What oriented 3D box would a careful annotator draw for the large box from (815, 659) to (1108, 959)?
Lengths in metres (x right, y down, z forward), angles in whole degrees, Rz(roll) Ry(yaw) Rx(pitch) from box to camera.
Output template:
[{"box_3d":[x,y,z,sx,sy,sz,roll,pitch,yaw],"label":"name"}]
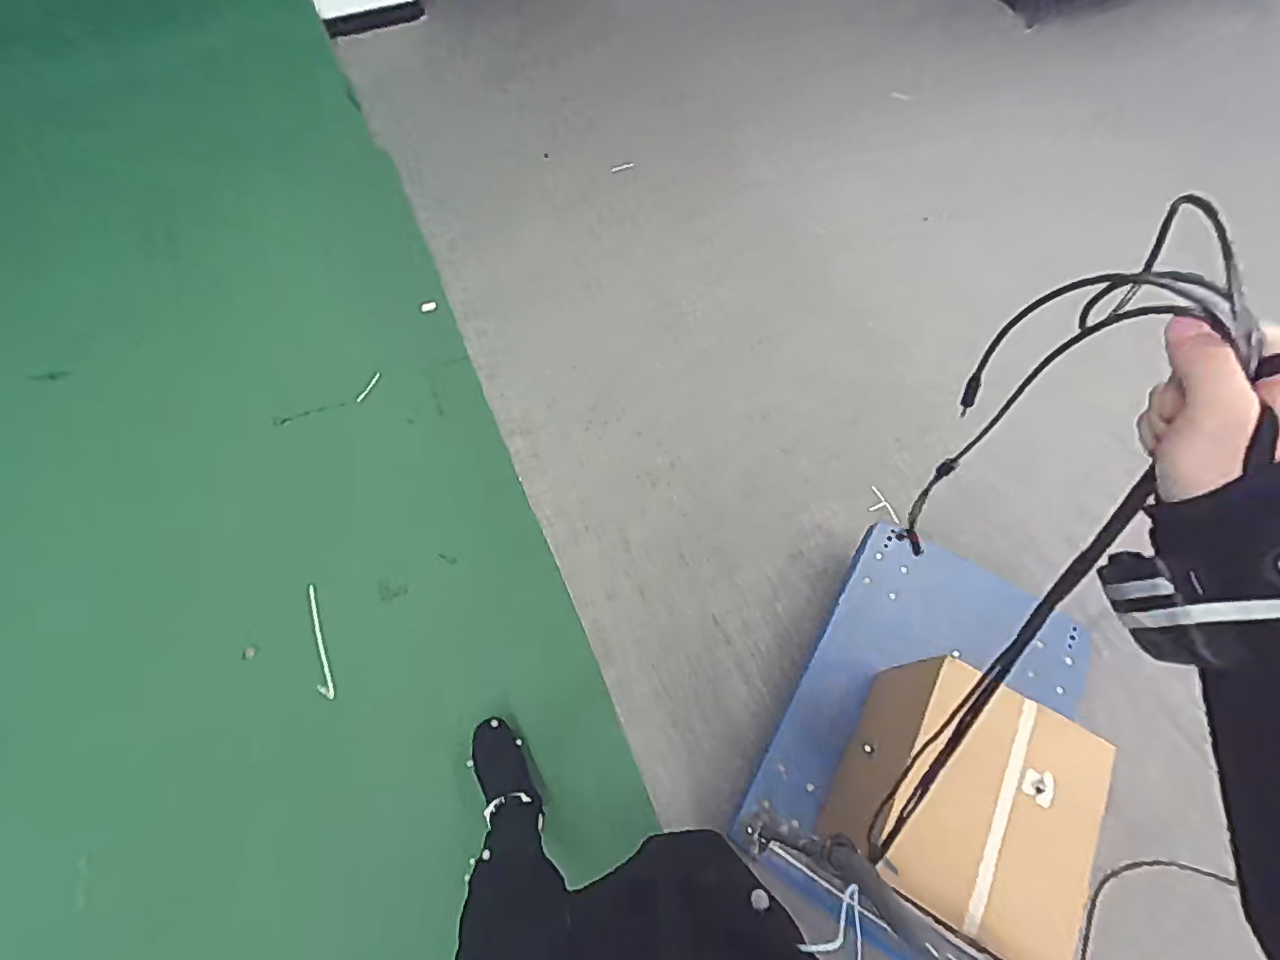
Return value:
[{"box_3d":[0.592,0.625,1.040,0.320,0.320,0.408,30,67,12],"label":"large box"}]
